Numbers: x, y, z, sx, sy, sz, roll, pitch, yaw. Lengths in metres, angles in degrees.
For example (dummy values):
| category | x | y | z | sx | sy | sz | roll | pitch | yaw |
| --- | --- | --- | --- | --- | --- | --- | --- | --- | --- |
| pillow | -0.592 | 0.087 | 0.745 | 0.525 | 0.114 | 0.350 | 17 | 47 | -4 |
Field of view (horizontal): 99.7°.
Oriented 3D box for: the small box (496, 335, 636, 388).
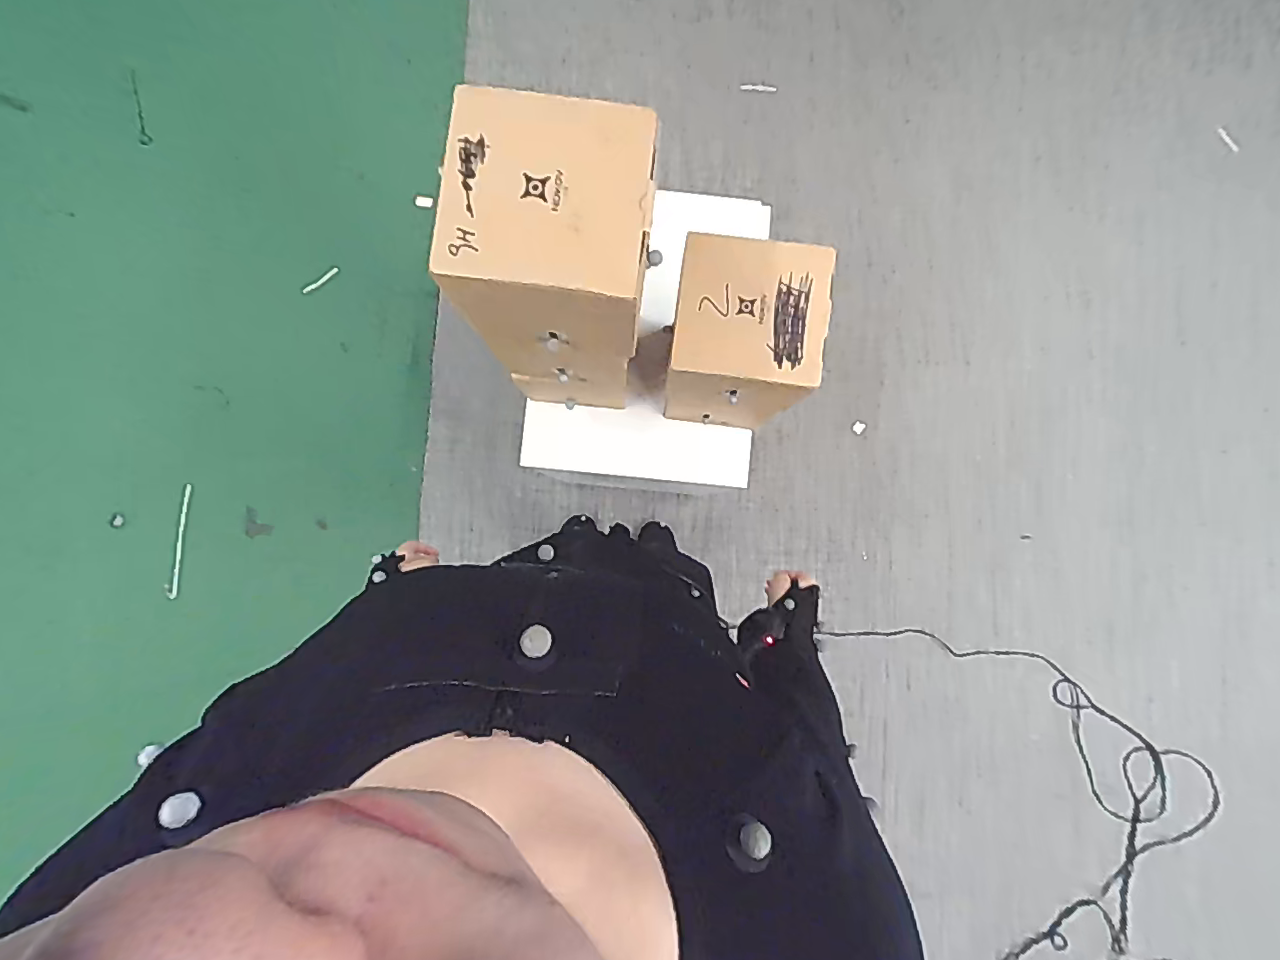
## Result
| category | x | y | z | sx | sy | sz | roll | pitch | yaw |
| --- | --- | --- | --- | --- | --- | --- | --- | --- | --- |
| small box | -0.086 | -0.232 | 0.698 | 0.168 | 0.176 | 0.179 | 7 | 87 | 0 |

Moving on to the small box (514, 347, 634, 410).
| category | x | y | z | sx | sy | sz | roll | pitch | yaw |
| --- | --- | --- | --- | --- | --- | --- | --- | --- | --- |
| small box | -0.094 | -0.219 | 0.862 | 0.168 | 0.176 | 0.179 | 6 | 87 | -1 |

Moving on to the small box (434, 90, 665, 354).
| category | x | y | z | sx | sy | sz | roll | pitch | yaw |
| --- | --- | --- | --- | --- | --- | --- | --- | --- | --- |
| small box | -0.078 | -0.233 | 0.534 | 0.179 | 0.176 | 0.168 | 8 | 86 | -2 |

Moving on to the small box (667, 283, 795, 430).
| category | x | y | z | sx | sy | sz | roll | pitch | yaw |
| --- | --- | --- | --- | --- | --- | --- | --- | --- | --- |
| small box | 0.136 | -0.187 | 0.864 | 0.168 | 0.176 | 0.179 | 7 | 87 | 1 |
